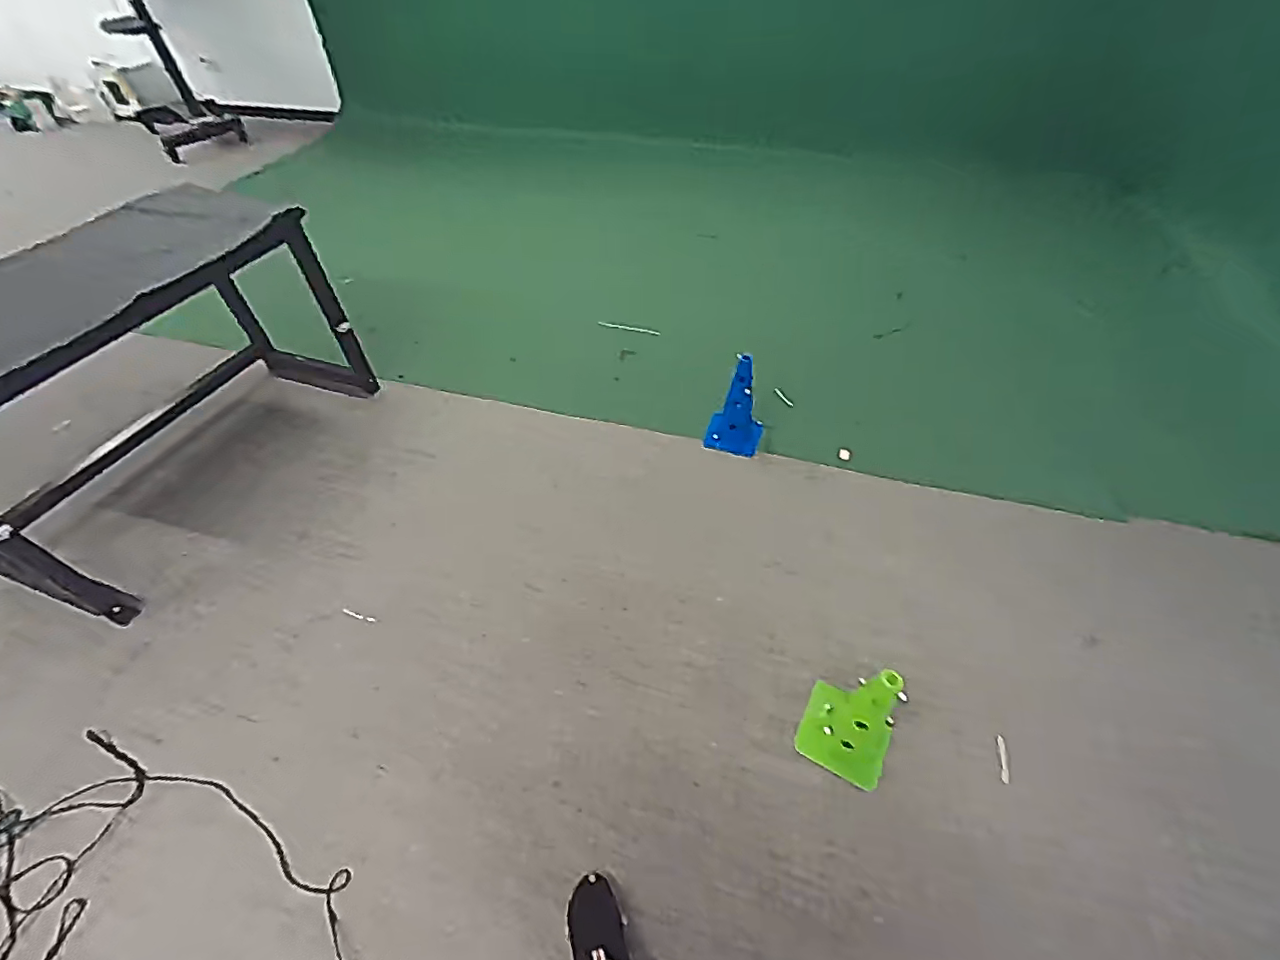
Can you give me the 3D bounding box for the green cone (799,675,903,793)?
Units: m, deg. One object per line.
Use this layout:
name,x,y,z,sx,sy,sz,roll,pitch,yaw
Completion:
green cone,0.513,0.526,1.222,0.200,0.368,0.202,22,52,20
